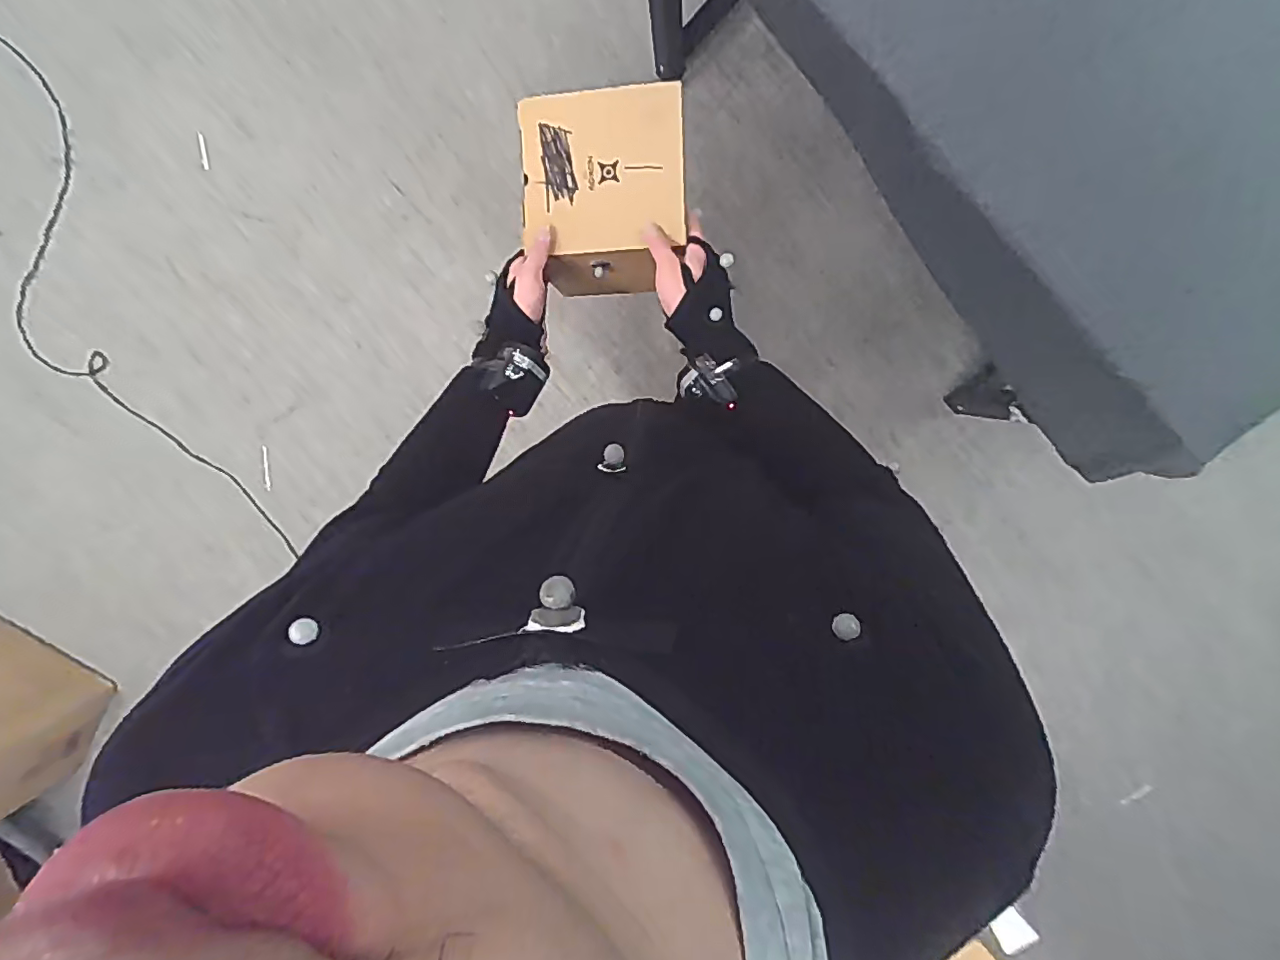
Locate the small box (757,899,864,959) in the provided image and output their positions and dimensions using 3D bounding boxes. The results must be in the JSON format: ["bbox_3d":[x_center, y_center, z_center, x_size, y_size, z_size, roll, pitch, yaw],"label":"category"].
[{"bbox_3d":[0.346,0.985,1.059,0.179,0.176,0.168,-39,97,11],"label":"small box"}]

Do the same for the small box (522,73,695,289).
[{"bbox_3d":[-0.026,-0.330,0.633,0.179,0.176,0.168,-1,95,6],"label":"small box"}]
